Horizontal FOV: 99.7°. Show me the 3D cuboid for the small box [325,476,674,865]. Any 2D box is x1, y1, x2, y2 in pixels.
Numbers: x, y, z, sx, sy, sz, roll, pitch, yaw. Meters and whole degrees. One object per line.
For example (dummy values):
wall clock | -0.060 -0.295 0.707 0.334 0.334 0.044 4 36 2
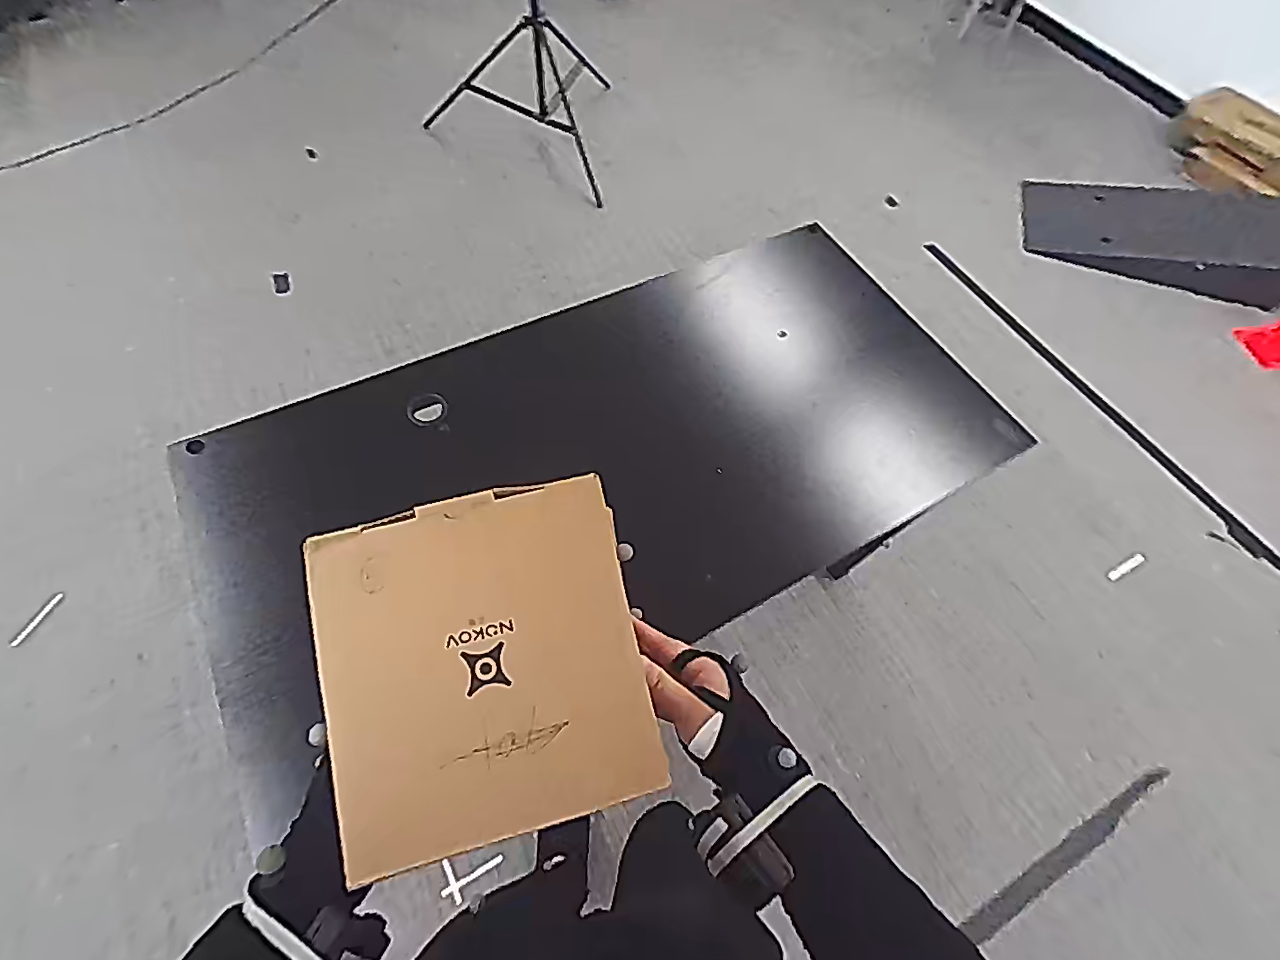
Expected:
small box | -0.087 0.114 0.379 0.168 0.176 0.179 -14 80 -7
